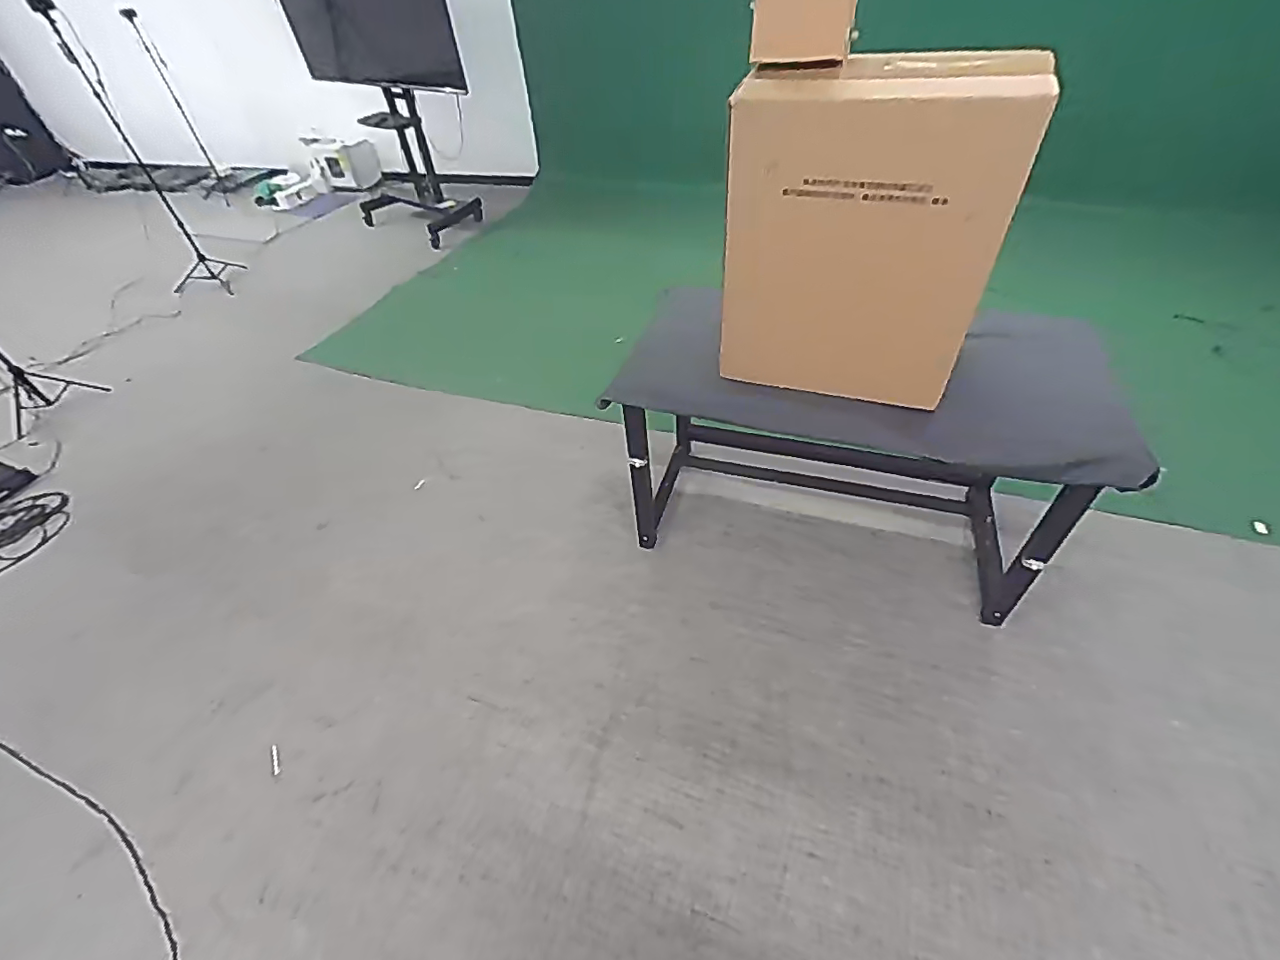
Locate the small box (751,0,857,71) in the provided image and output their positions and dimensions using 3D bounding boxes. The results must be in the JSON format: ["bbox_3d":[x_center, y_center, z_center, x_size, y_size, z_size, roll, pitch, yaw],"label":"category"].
[{"bbox_3d":[0.321,-0.904,1.050,0.179,0.176,0.168,12,41,15],"label":"small box"}]
